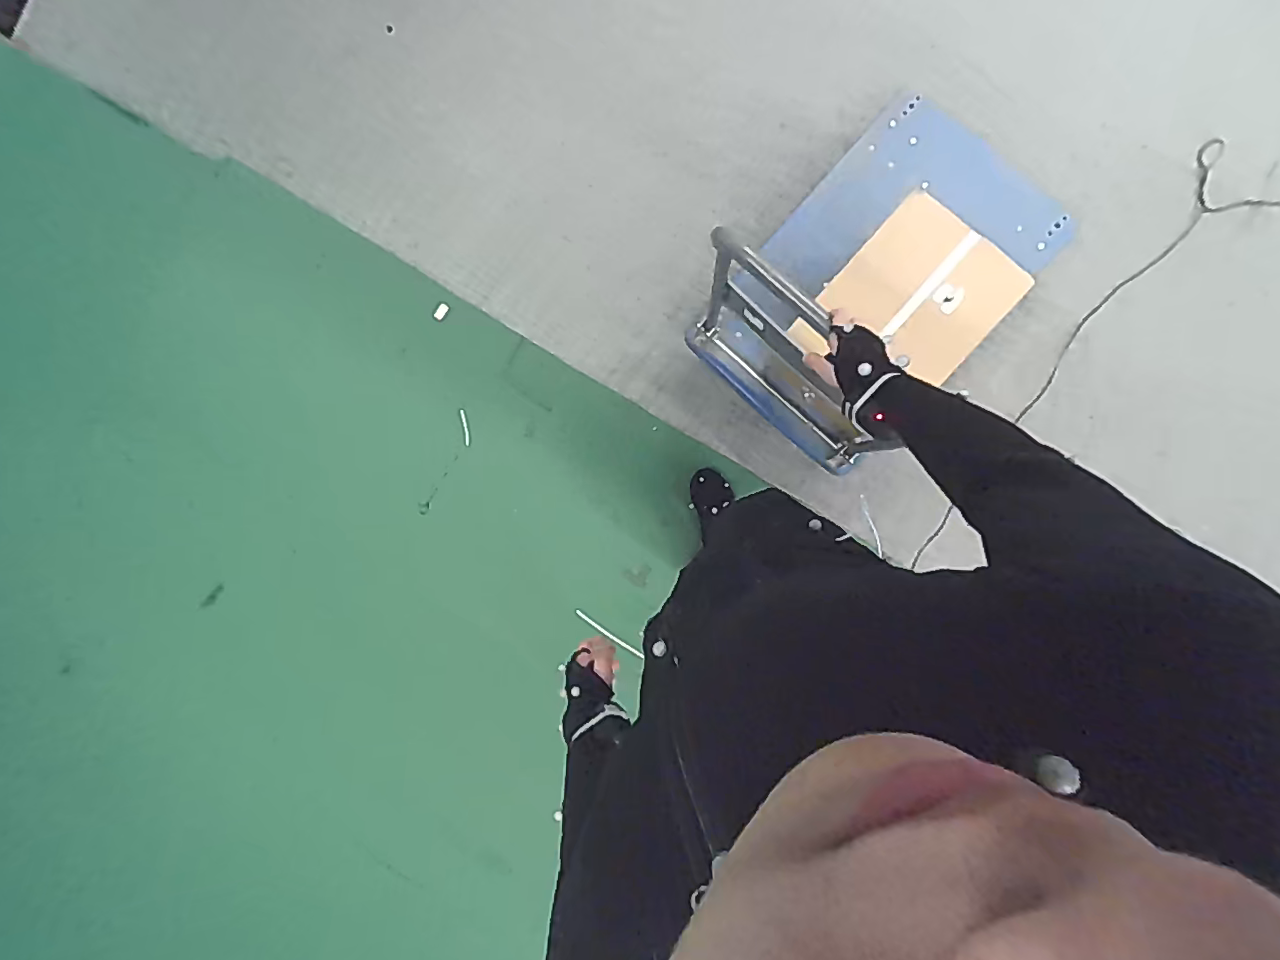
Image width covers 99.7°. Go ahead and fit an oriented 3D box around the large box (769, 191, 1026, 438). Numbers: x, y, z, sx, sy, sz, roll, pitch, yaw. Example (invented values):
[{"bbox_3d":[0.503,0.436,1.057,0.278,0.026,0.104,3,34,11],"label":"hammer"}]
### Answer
[{"bbox_3d":[0.564,-0.355,1.273,0.320,0.320,0.408,42,93,3],"label":"large box"}]
